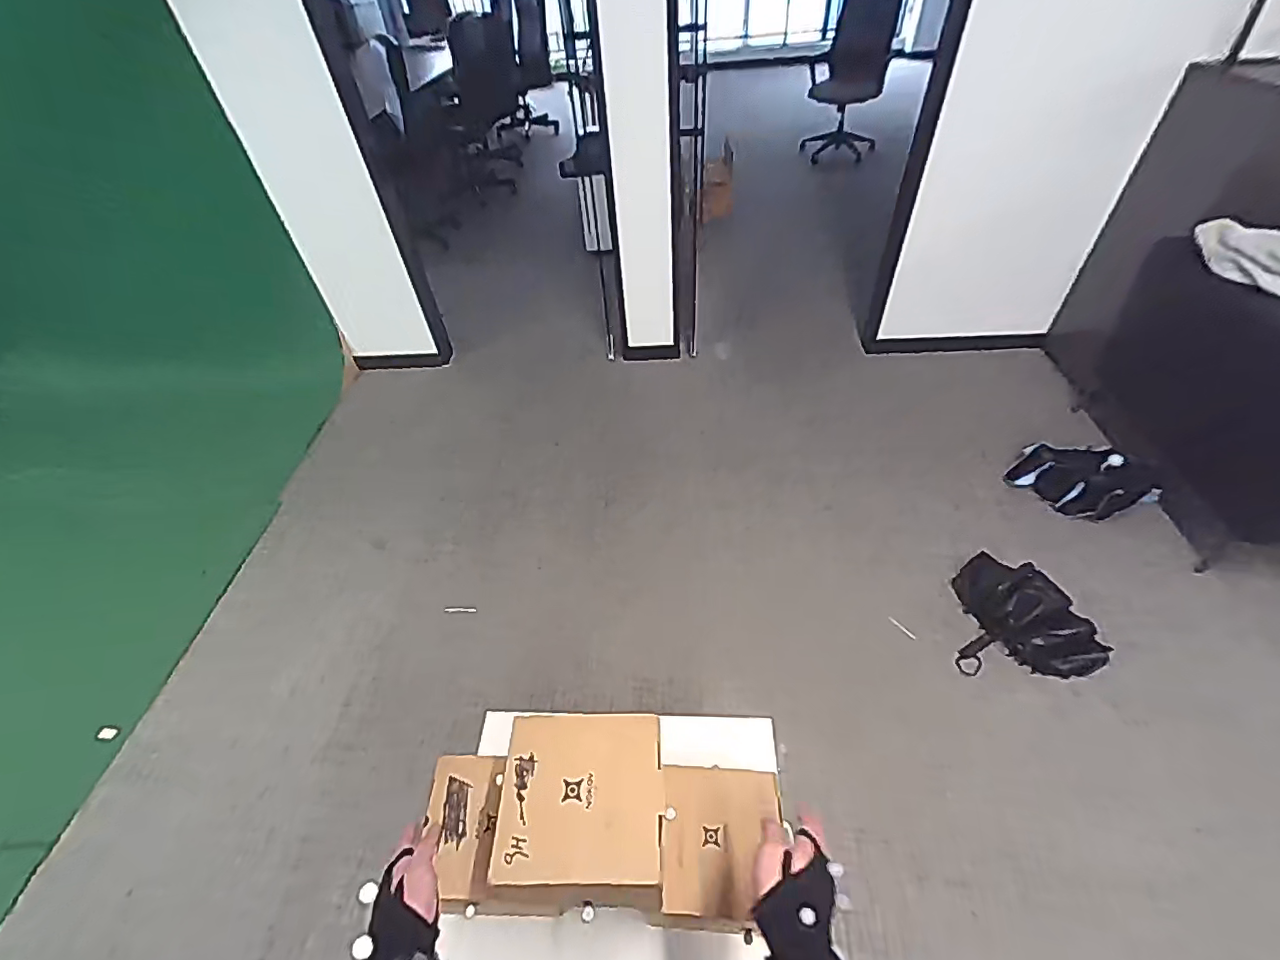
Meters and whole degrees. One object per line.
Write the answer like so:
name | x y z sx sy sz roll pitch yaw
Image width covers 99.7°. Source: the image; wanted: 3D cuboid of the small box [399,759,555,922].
small box | -0.201 0.509 0.762 0.179 0.176 0.168 0 46 2

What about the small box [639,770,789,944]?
small box | 0.097 0.514 0.737 0.179 0.176 0.168 -1 45 7

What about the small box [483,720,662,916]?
small box | -0.064 0.397 0.635 0.179 0.176 0.168 -1 46 2
